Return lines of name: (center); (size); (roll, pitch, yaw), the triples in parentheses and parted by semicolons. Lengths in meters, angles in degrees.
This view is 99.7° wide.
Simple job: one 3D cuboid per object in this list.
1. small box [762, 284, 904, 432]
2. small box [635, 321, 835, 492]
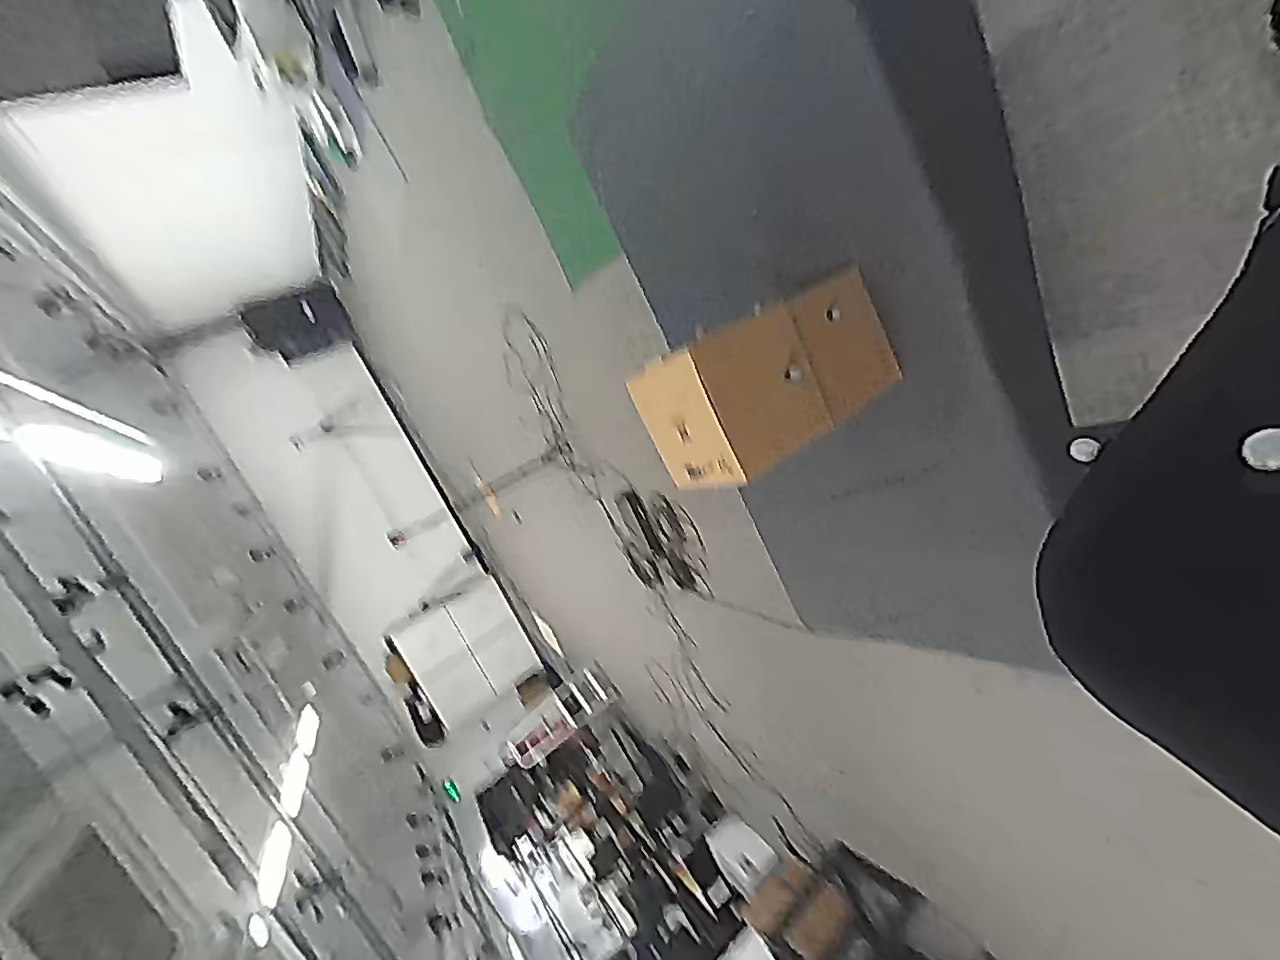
small box: (0.254, -0.173, 0.813); (0.179, 0.176, 0.168); (61, 155, -8)
small box: (0.128, -0.100, 0.738); (0.168, 0.176, 0.179); (-9, 109, 63)
